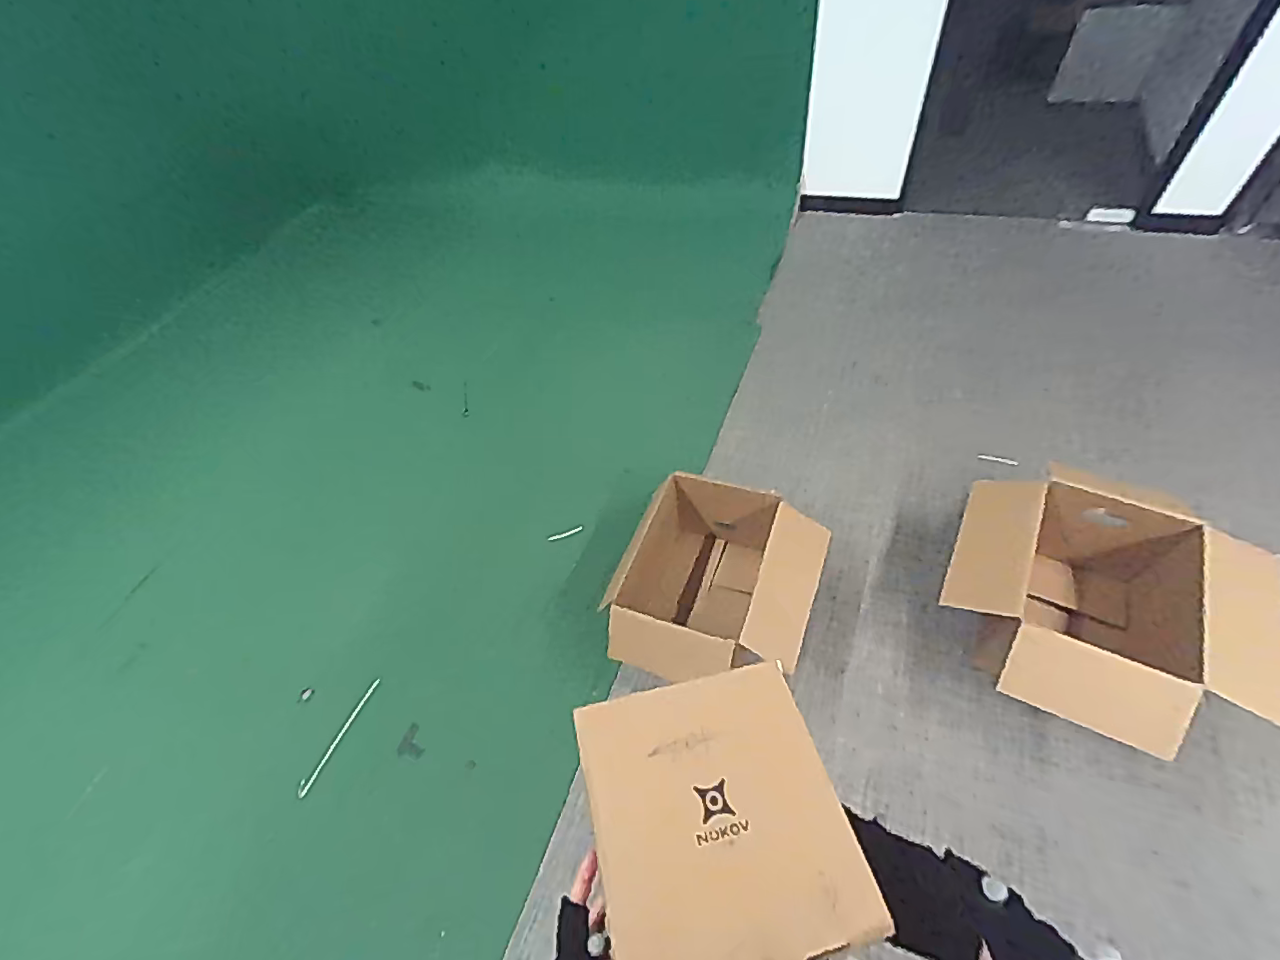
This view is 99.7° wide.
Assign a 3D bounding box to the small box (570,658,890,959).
[{"bbox_3d":[0.046,0.268,0.411,0.168,0.176,0.179,-10,48,-12],"label":"small box"}]
